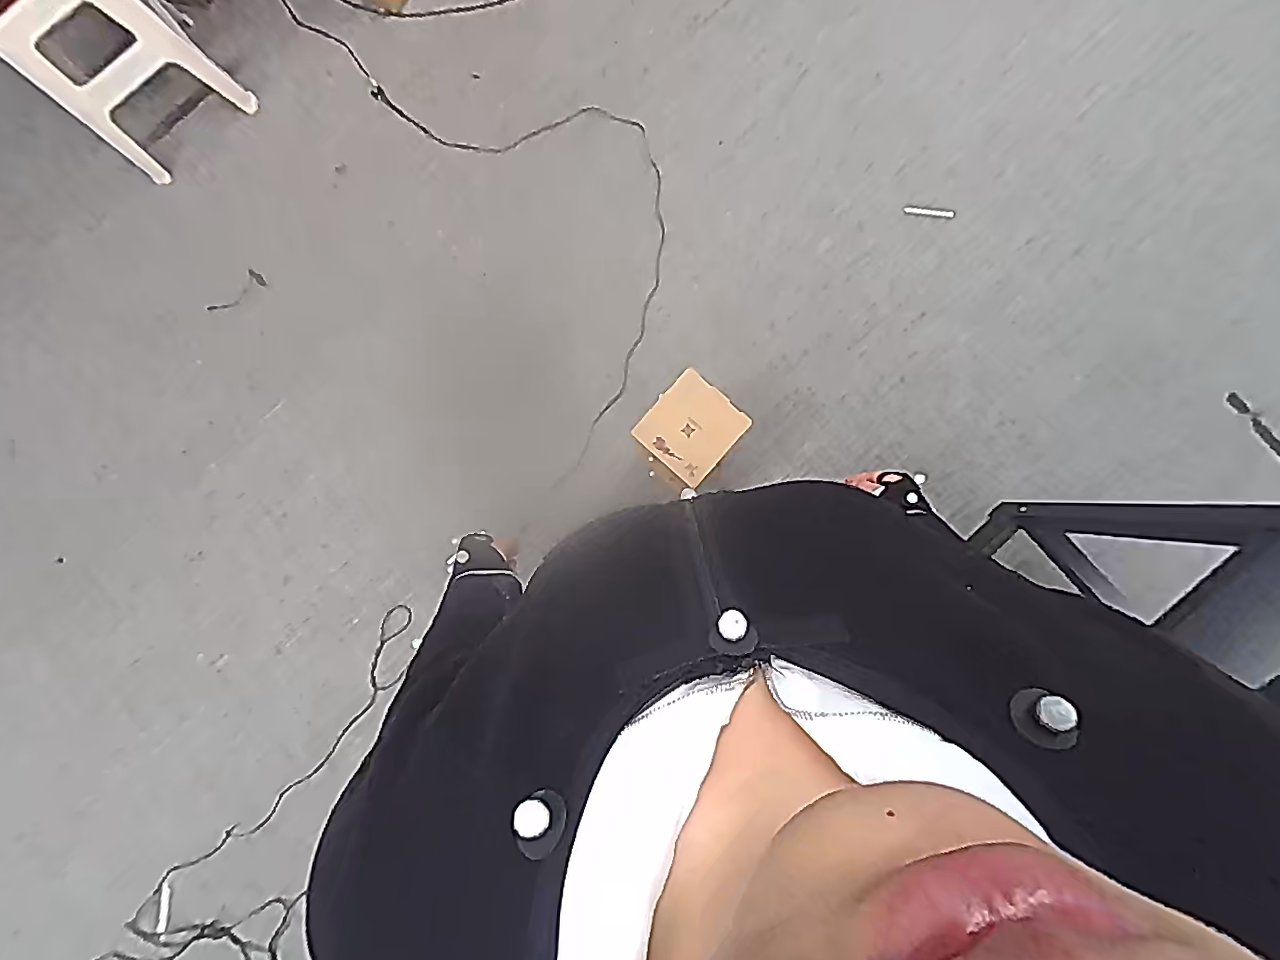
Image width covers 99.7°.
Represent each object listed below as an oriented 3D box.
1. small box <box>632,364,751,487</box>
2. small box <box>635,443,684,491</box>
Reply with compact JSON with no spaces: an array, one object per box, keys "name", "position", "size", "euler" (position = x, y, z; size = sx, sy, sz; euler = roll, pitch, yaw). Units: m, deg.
[{"name":"small box","position":[0.098,-0.103,1.112],"size":[0.168,0.176,0.179],"euler":[42,88,3]},{"name":"small box","position":[0.103,-0.088,1.439],"size":[0.168,0.176,0.179],"euler":[45,90,3]}]
